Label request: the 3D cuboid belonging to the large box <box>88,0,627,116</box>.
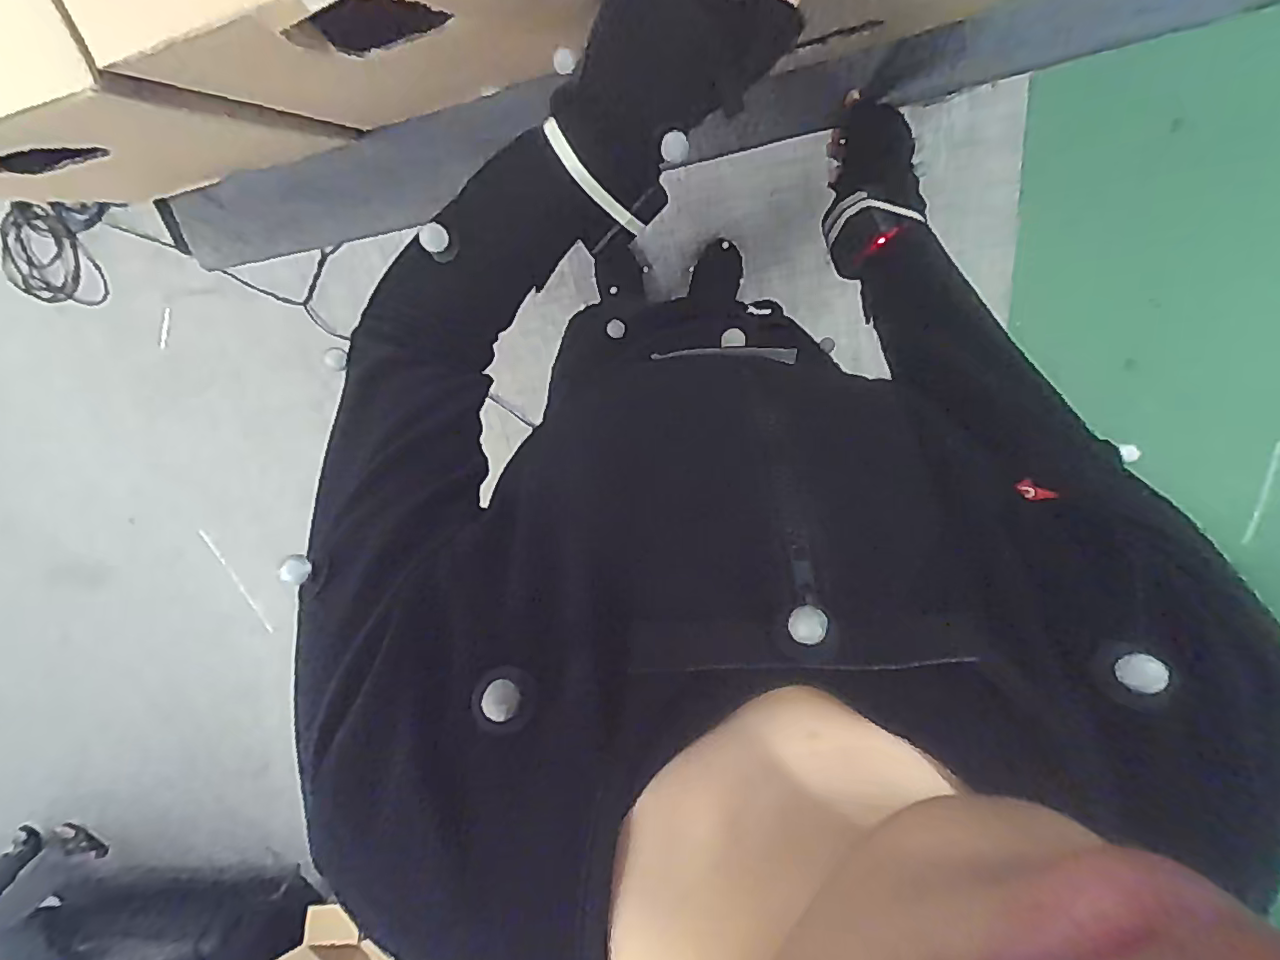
[{"bbox_3d":[-0.214,-0.530,0.357,0.320,0.320,0.408,-9,116,11],"label":"large box"}]
